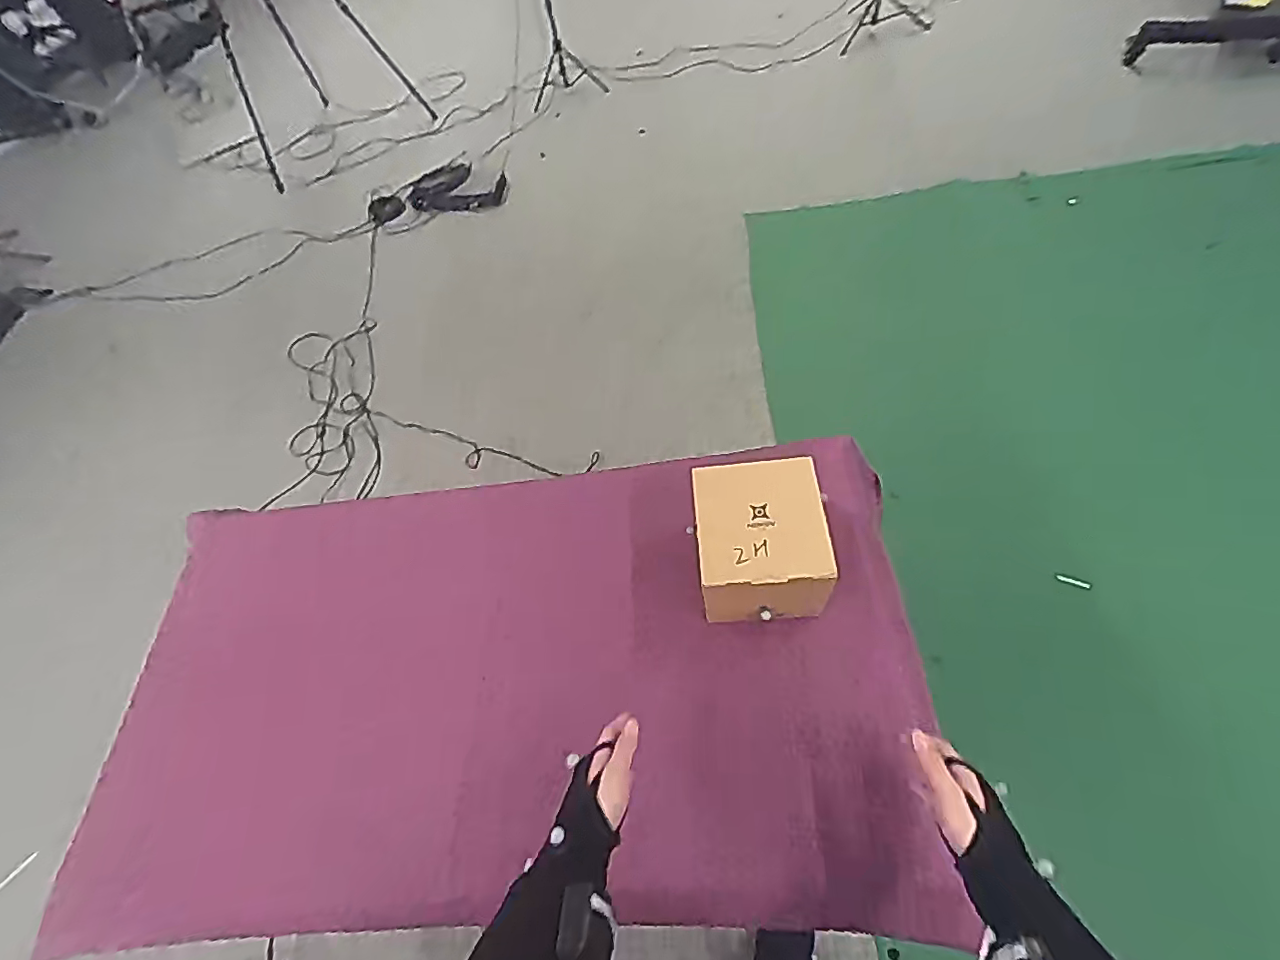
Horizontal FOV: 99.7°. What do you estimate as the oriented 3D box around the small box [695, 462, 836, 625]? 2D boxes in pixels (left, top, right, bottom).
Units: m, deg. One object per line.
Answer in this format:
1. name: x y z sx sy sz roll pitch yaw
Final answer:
1. small box: 0.167 0.095 0.769 0.168 0.176 0.179 -5 60 7
